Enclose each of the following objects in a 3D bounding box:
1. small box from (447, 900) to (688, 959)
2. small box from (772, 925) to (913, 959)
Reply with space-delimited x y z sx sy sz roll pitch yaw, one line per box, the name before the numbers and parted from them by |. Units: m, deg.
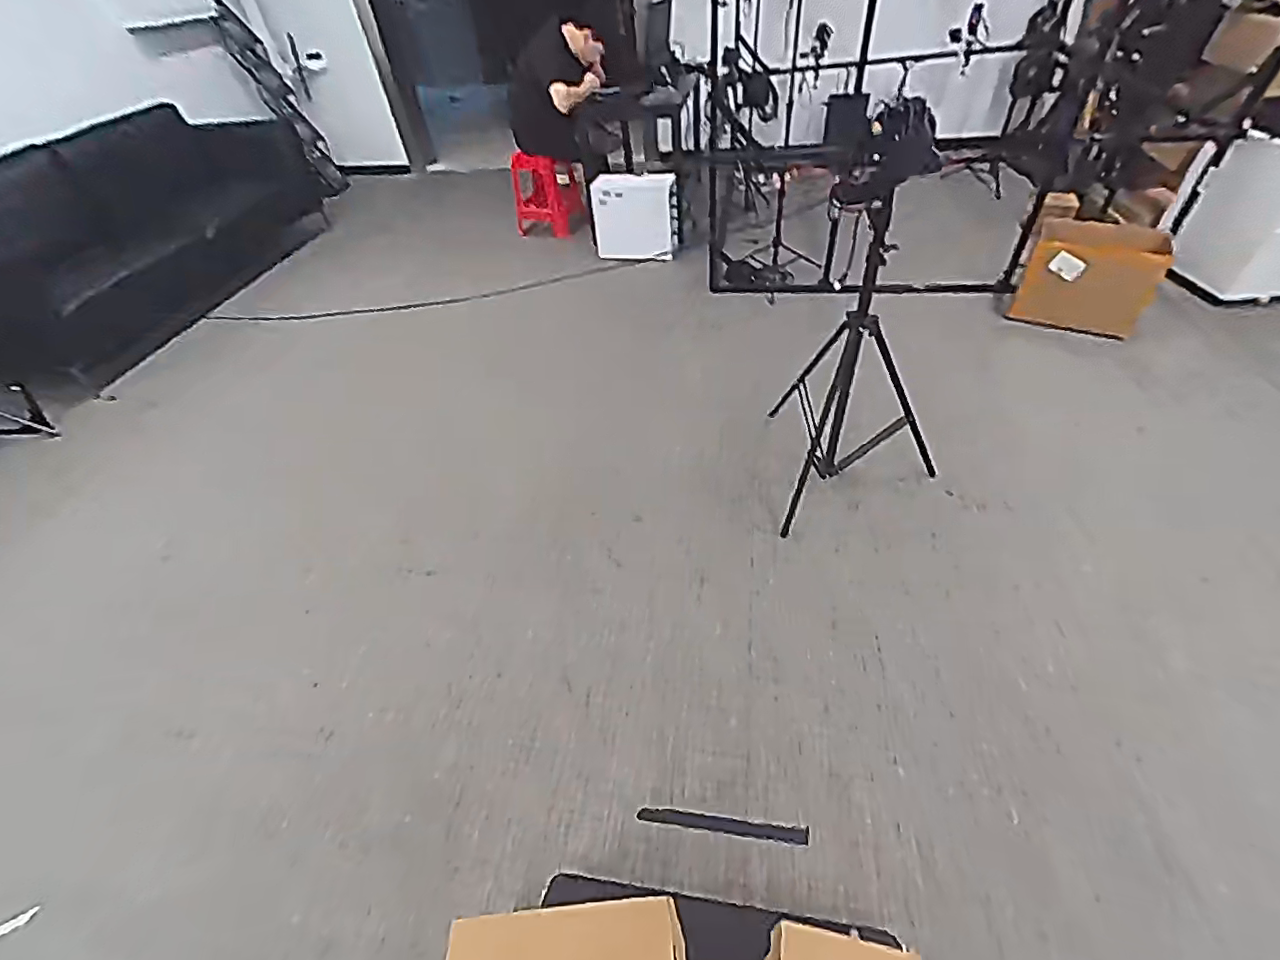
small box | -0.046 0.445 0.406 0.179 0.176 0.168 -7 41 1
small box | 0.263 0.707 0.697 0.179 0.176 0.168 5 46 13
